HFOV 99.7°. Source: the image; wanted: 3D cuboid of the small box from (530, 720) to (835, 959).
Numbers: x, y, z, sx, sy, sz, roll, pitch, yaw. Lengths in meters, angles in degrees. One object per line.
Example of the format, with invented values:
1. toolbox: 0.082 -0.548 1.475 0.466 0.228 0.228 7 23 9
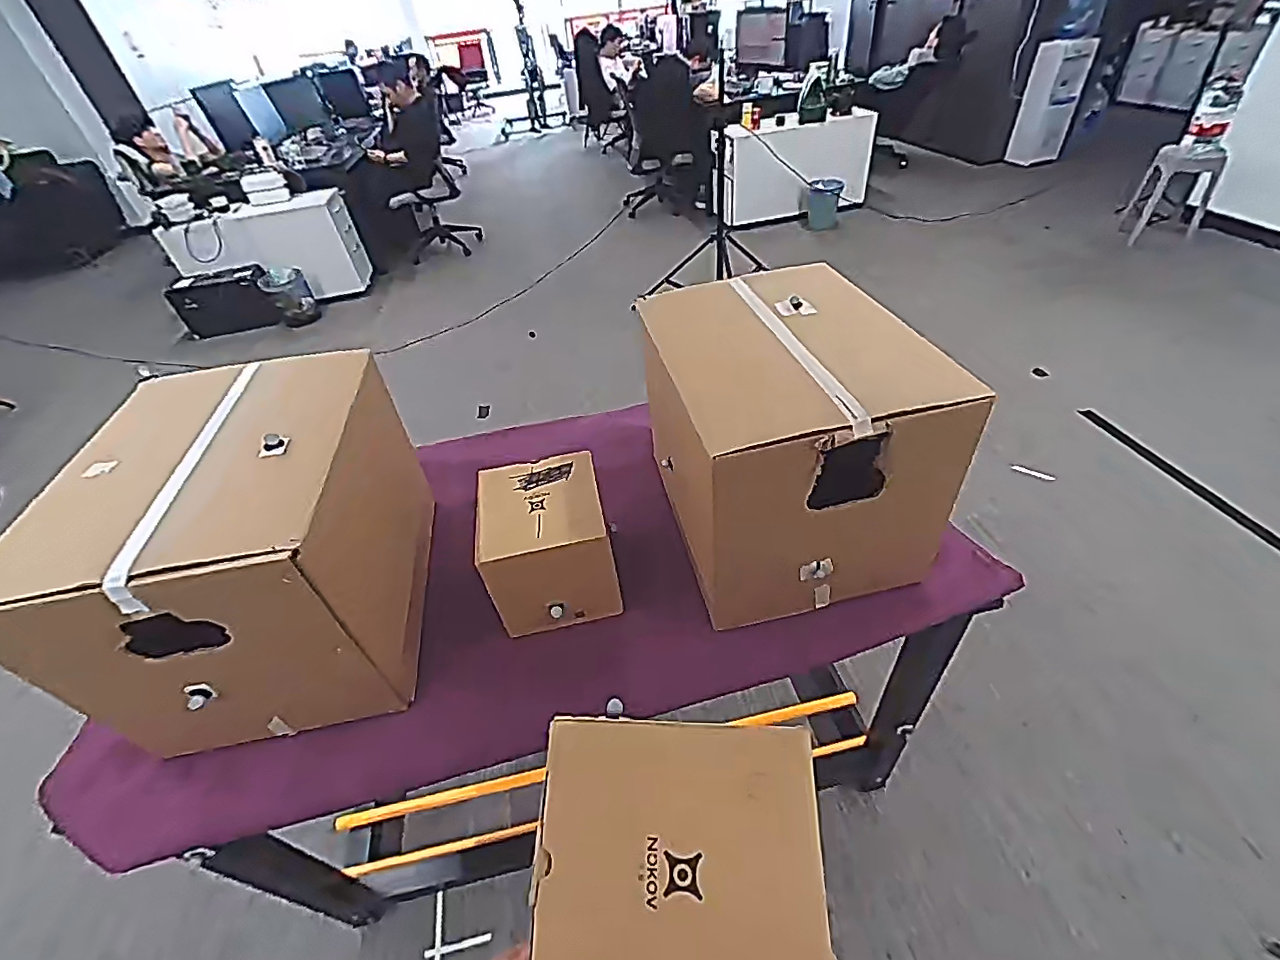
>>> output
1. small box: 0.034 0.270 0.396 0.179 0.176 0.168 -3 63 9

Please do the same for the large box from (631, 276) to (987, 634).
1. large box: 0.194 -0.055 0.792 0.320 0.320 0.408 -12 40 -5
